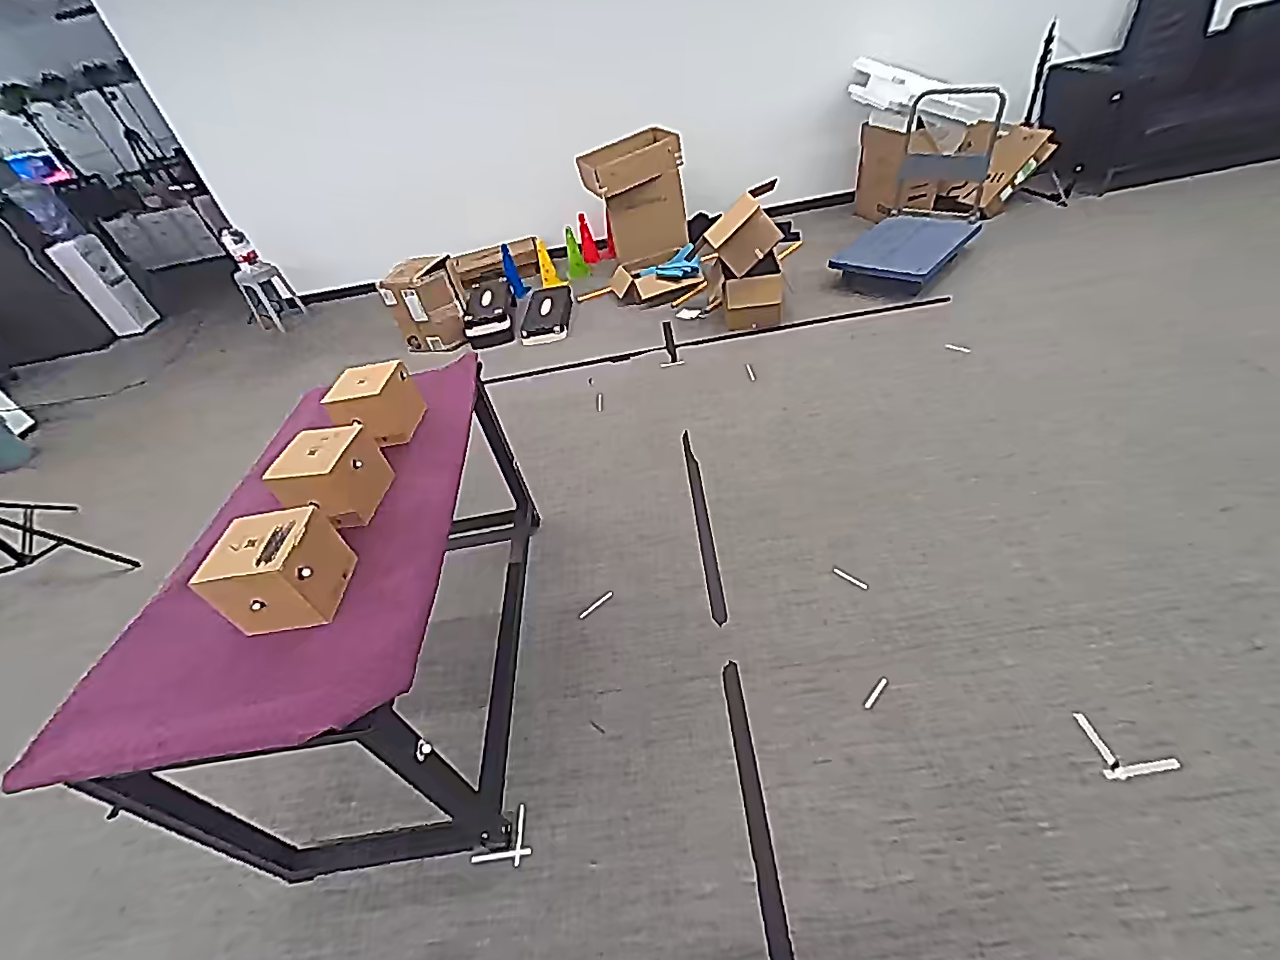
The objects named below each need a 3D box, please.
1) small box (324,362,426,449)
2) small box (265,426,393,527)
[{"bbox_3d":[-0.720,-0.199,1.494,0.168,0.176,0.179,-8,41,7],"label":"small box"},{"bbox_3d":[-0.713,-0.002,1.268,0.168,0.176,0.179,-4,41,8],"label":"small box"}]
